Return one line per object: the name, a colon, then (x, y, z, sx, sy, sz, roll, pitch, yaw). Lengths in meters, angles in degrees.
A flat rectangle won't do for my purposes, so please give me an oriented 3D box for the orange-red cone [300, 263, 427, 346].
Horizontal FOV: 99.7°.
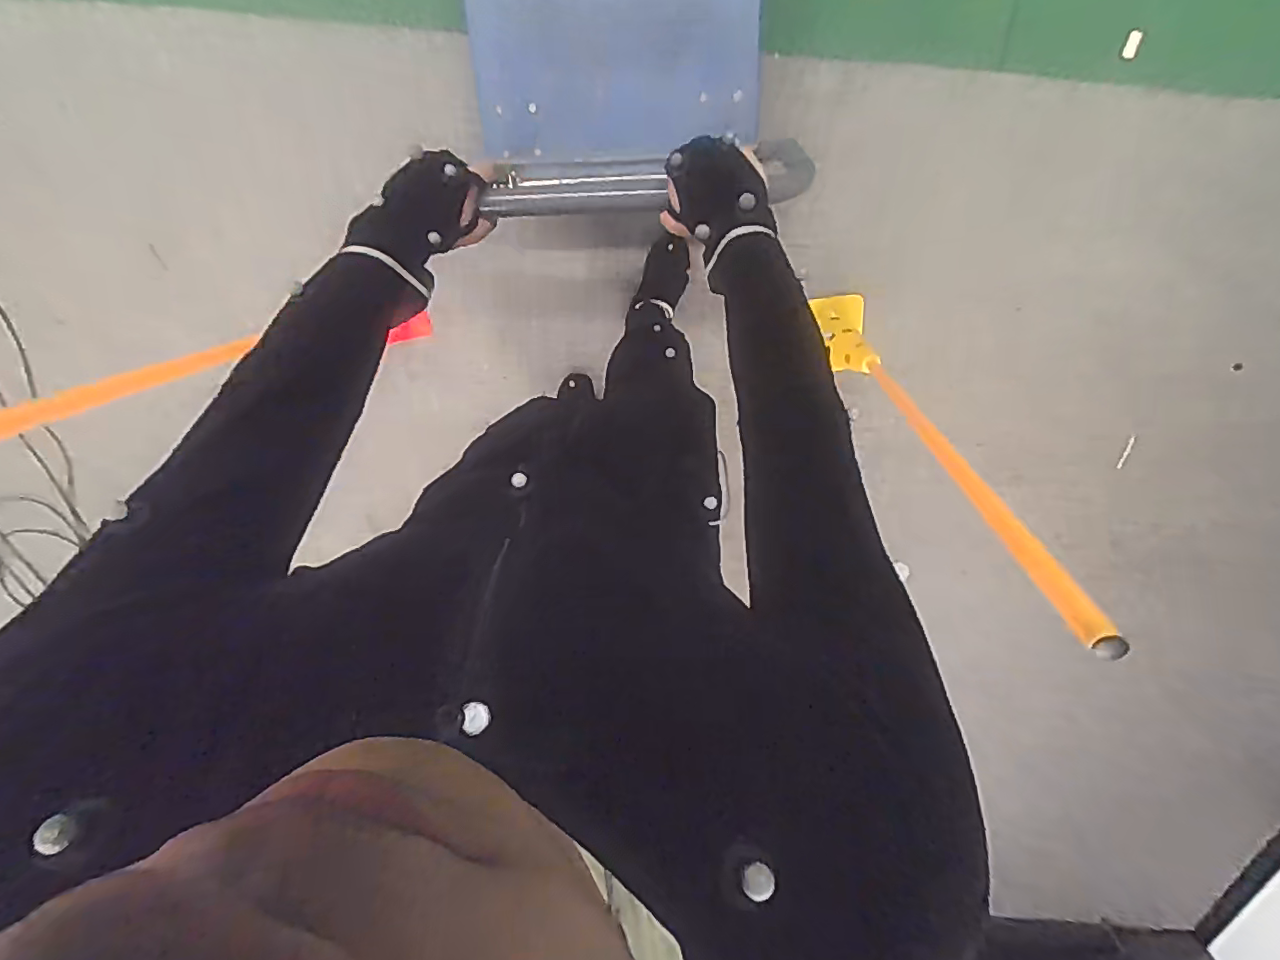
orange-red cone: (-0.691, -0.395, 1.292, 0.199, 0.360, 0.198, -9, 114, 7)
